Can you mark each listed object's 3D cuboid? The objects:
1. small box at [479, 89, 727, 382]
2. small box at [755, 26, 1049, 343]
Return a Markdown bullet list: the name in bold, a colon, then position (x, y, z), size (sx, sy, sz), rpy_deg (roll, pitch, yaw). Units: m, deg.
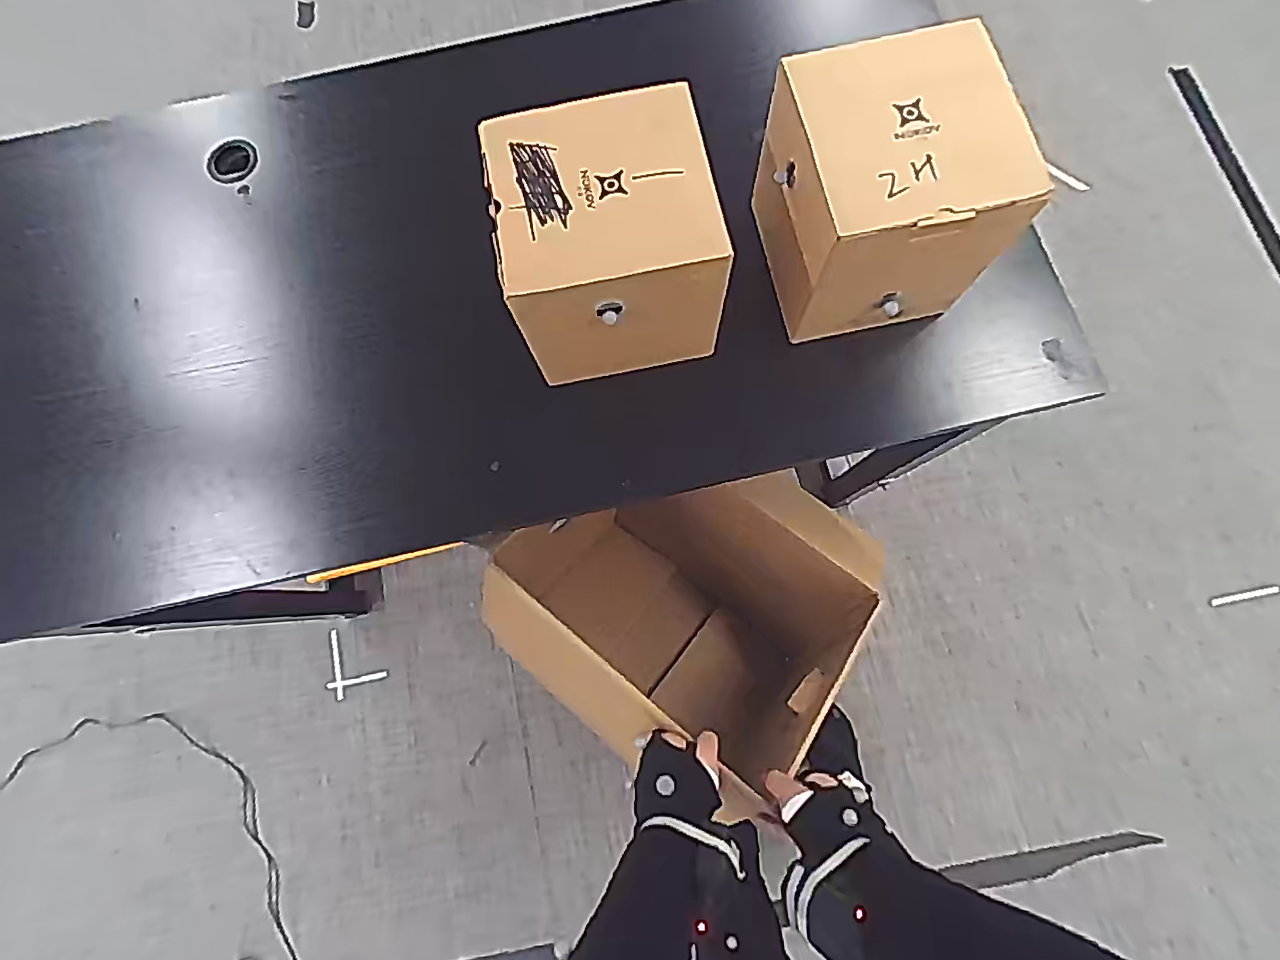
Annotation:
- **small box**: position (-0.029, -0.205, 0.497), size (0.179, 0.176, 0.168), rpy_deg (-11, 77, -1)
- **small box**: position (0.212, -0.253, 0.496), size (0.168, 0.176, 0.179), rpy_deg (-11, 77, 1)
